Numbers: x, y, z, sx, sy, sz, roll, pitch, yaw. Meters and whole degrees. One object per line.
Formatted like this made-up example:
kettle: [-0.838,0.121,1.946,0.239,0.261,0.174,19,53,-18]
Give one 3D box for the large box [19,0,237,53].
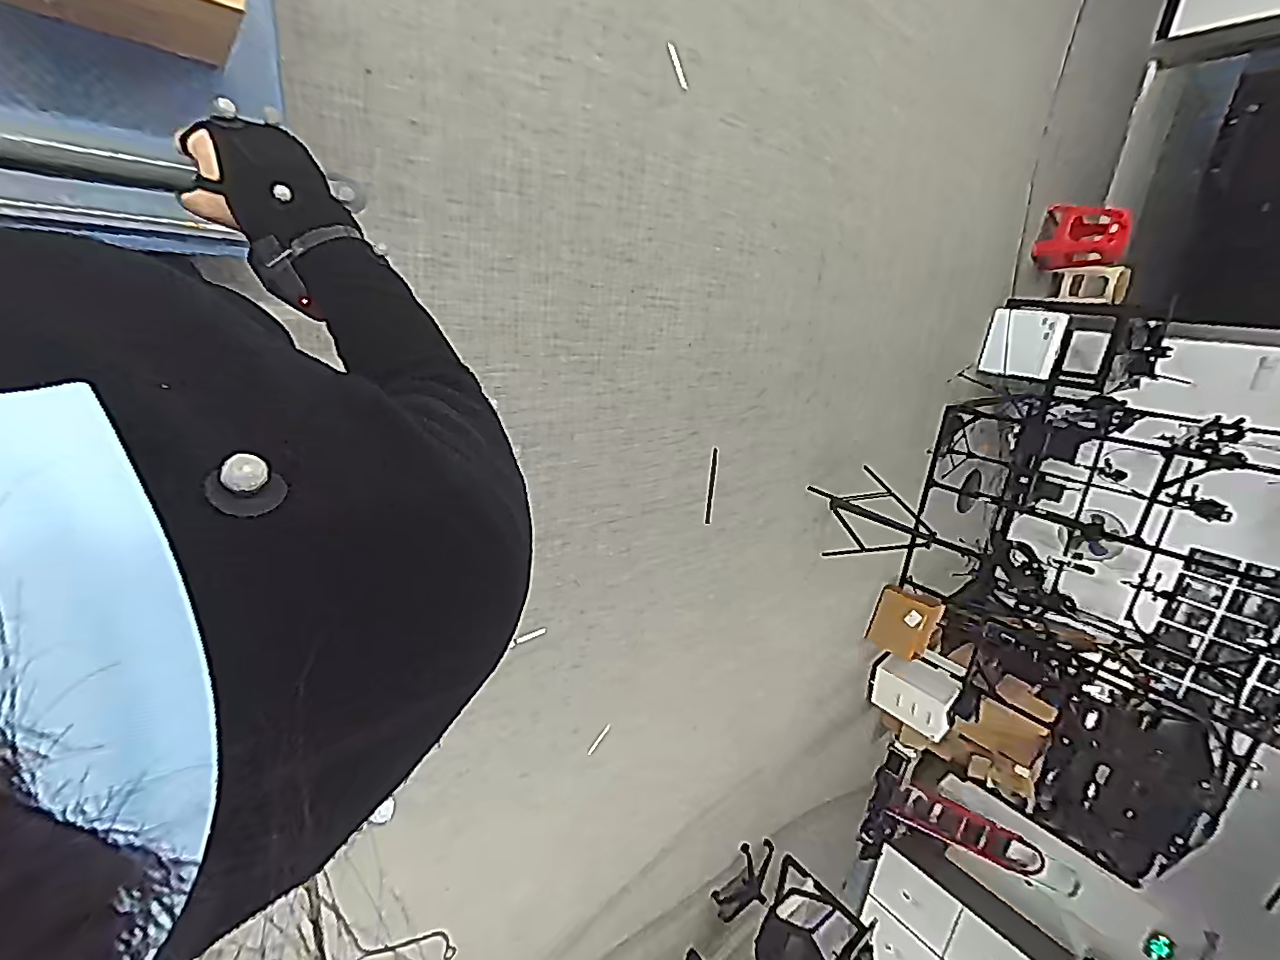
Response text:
large box: [-0.769,-0.799,0.657,0.408,0.320,0.320,-9,113,-39]
